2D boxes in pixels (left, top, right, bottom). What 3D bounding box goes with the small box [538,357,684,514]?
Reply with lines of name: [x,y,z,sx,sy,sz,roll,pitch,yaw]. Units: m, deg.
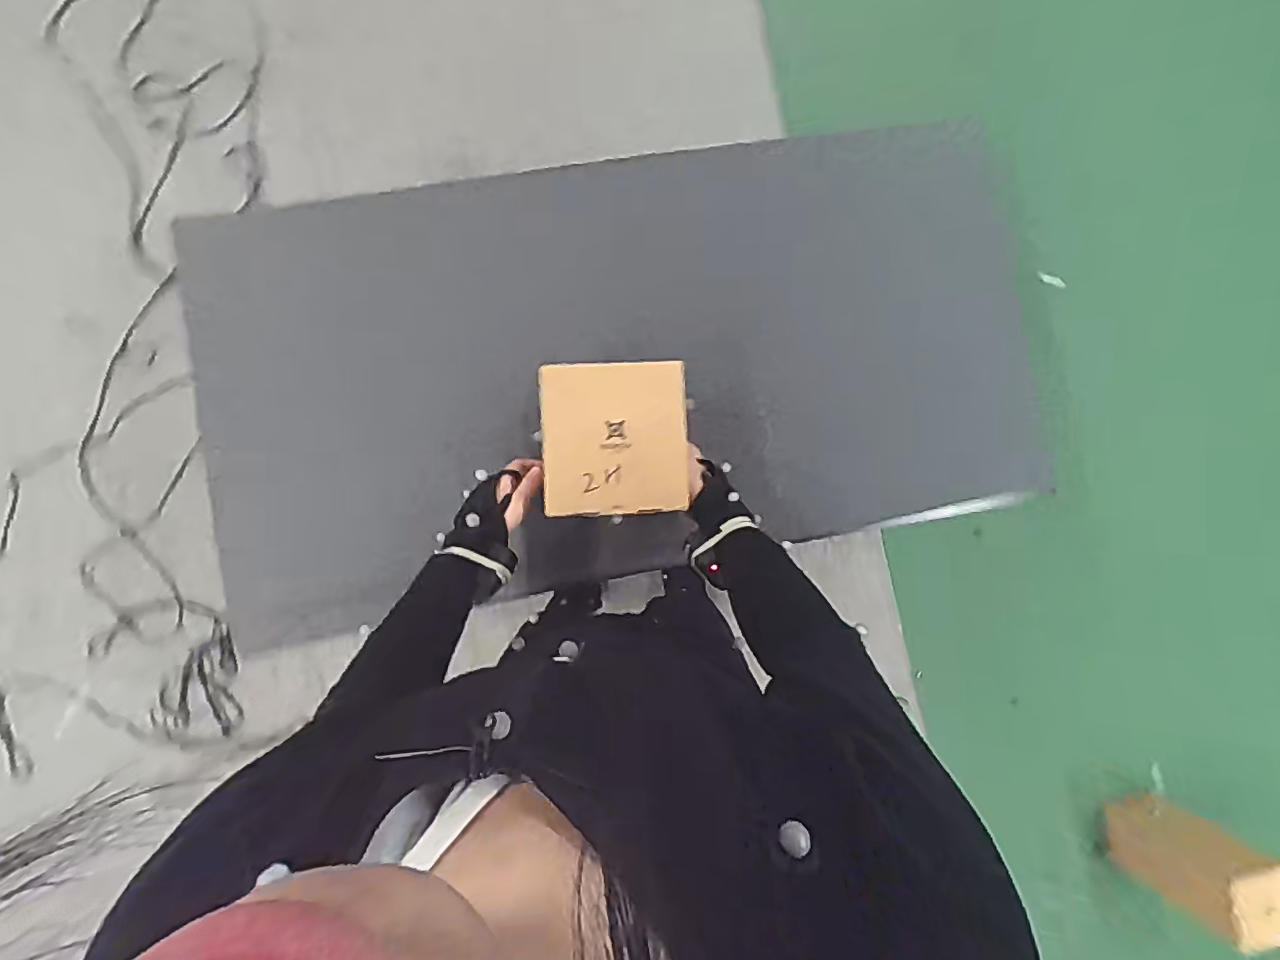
small box: [-0.038,-0.047,0.689,0.168,0.176,0.179,-2,87,-3]

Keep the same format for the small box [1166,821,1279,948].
small box: [1.450,0.967,1.312,0.179,0.176,0.168,-11,89,-4]
